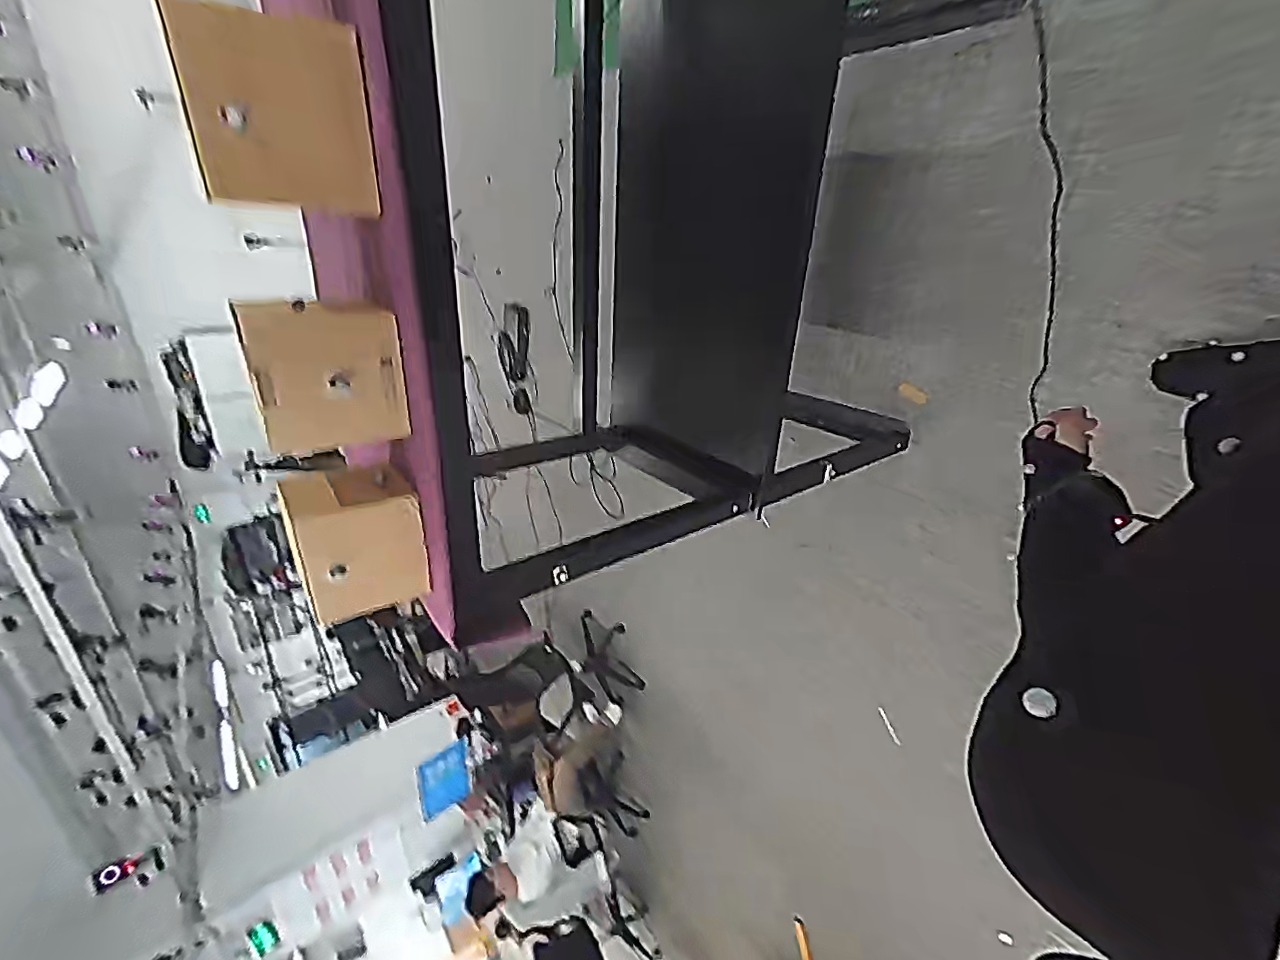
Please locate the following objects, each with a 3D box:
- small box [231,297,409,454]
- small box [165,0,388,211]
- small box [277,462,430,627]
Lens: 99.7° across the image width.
[{"bbox_3d":[-0.421,-0.151,0.727,0.179,0.176,0.168,30,125,46],"label":"small box"},{"bbox_3d":[-0.404,-0.408,0.611,0.168,0.176,0.179,32,128,45],"label":"small box"},{"bbox_3d":[-0.435,0.088,0.833,0.168,0.176,0.179,28,123,45],"label":"small box"}]
